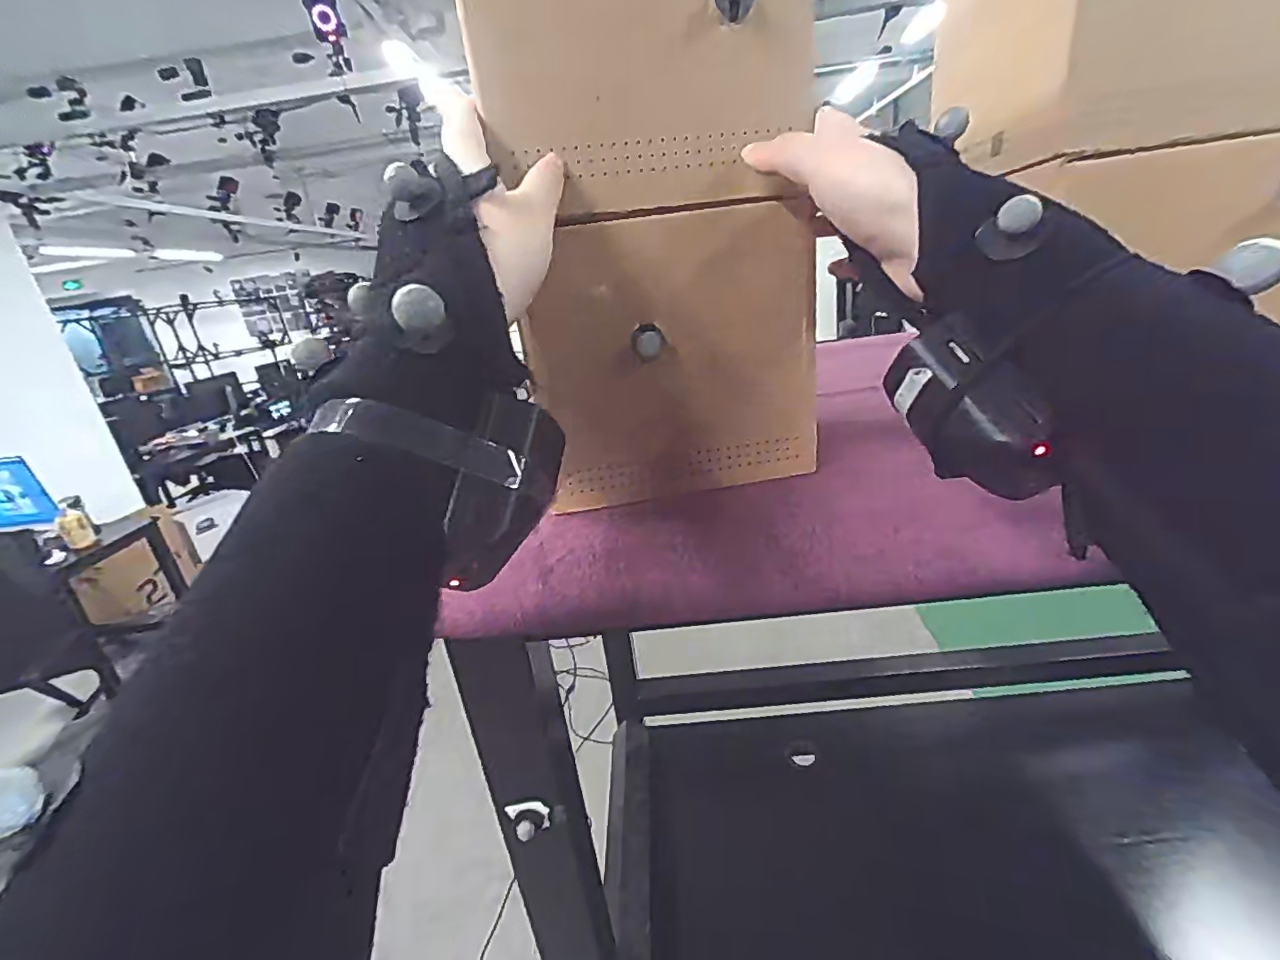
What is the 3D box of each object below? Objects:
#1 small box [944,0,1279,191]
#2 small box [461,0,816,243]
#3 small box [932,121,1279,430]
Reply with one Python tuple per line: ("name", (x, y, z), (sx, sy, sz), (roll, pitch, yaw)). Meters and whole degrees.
("small box", (0.319, -0.294, 0.347), (0.179, 0.176, 0.168), (-4, 20, 4))
("small box", (-0.007, -0.244, 0.328), (0.179, 0.176, 0.168), (-11, 21, -8))
("small box", (0.338, -0.139, 0.398), (0.179, 0.176, 0.168), (-5, 20, 5))
